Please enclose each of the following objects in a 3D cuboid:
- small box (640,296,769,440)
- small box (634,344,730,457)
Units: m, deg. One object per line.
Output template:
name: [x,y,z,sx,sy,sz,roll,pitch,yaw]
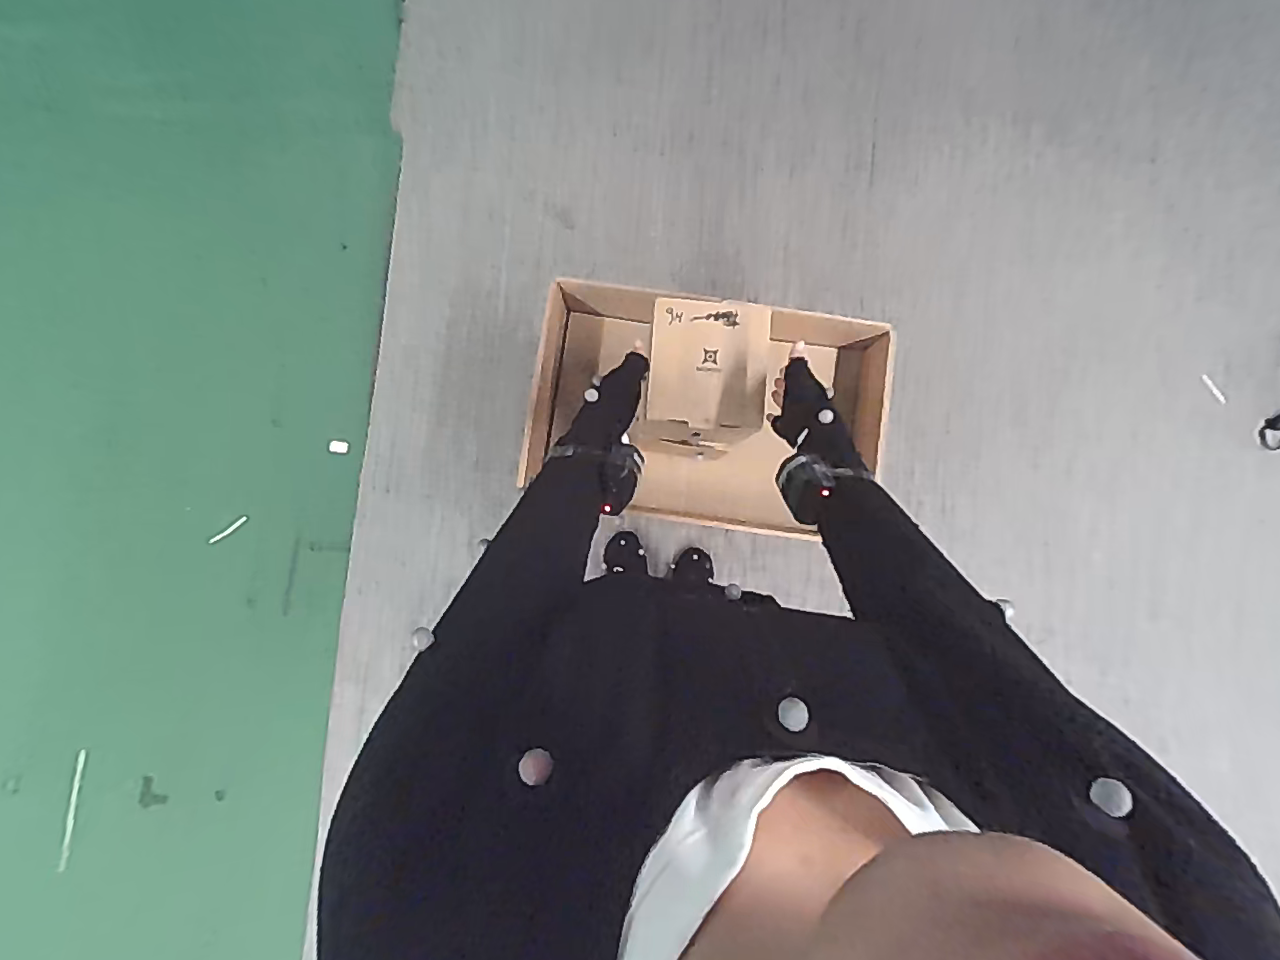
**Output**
small box: [0.089,-0.160,0.831,0.168,0.176,0.179,5,87,-2]
small box: [0.080,-0.143,0.994,0.168,0.176,0.179,8,85,-2]
